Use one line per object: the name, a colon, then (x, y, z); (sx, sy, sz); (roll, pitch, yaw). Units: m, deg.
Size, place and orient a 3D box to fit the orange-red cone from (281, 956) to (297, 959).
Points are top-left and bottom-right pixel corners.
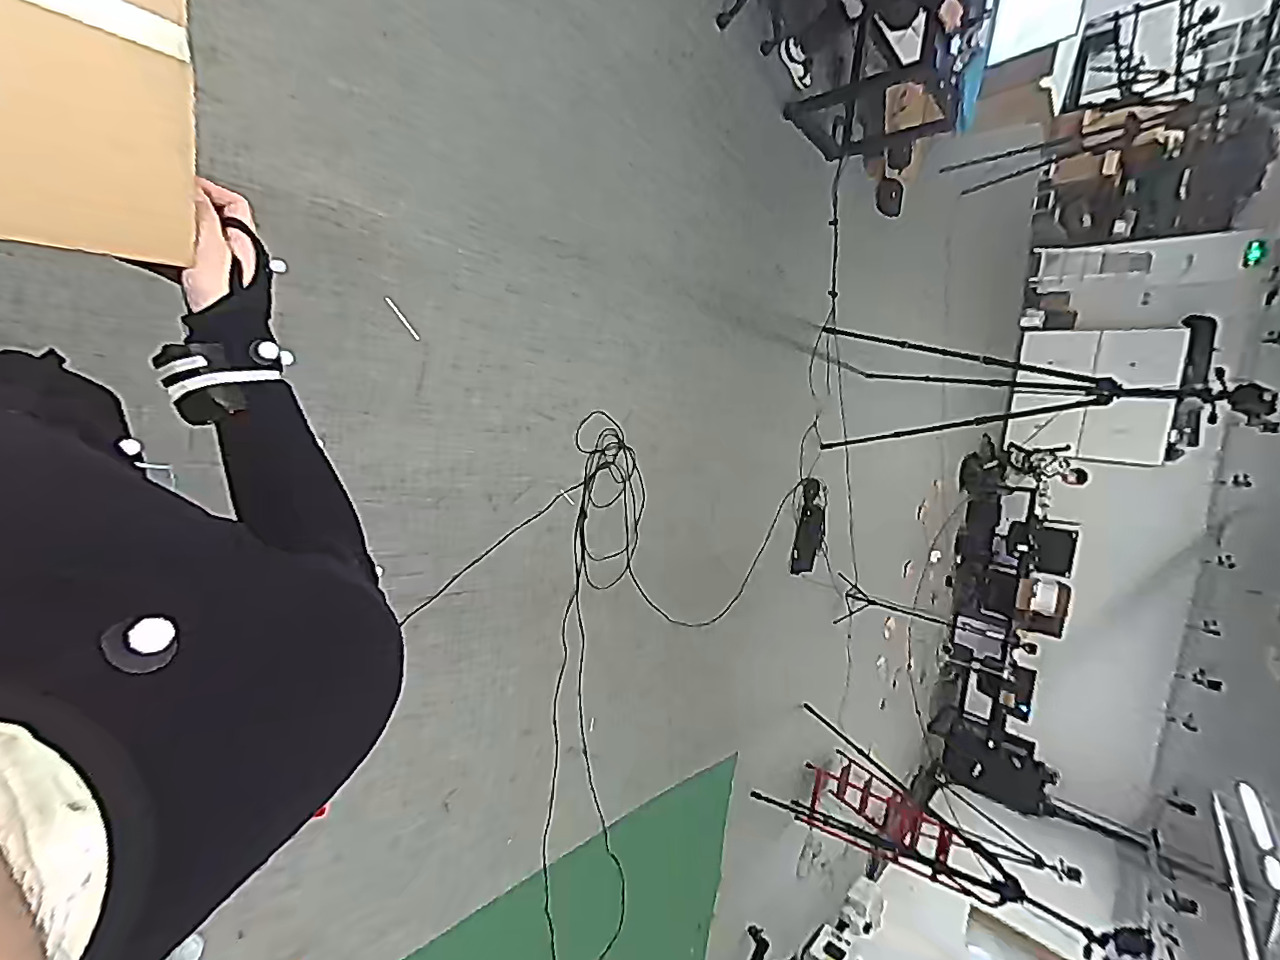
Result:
orange-red cone: (-1.010, 1.563, 1.479); (0.199, 0.360, 0.198); (12, 91, -50)
